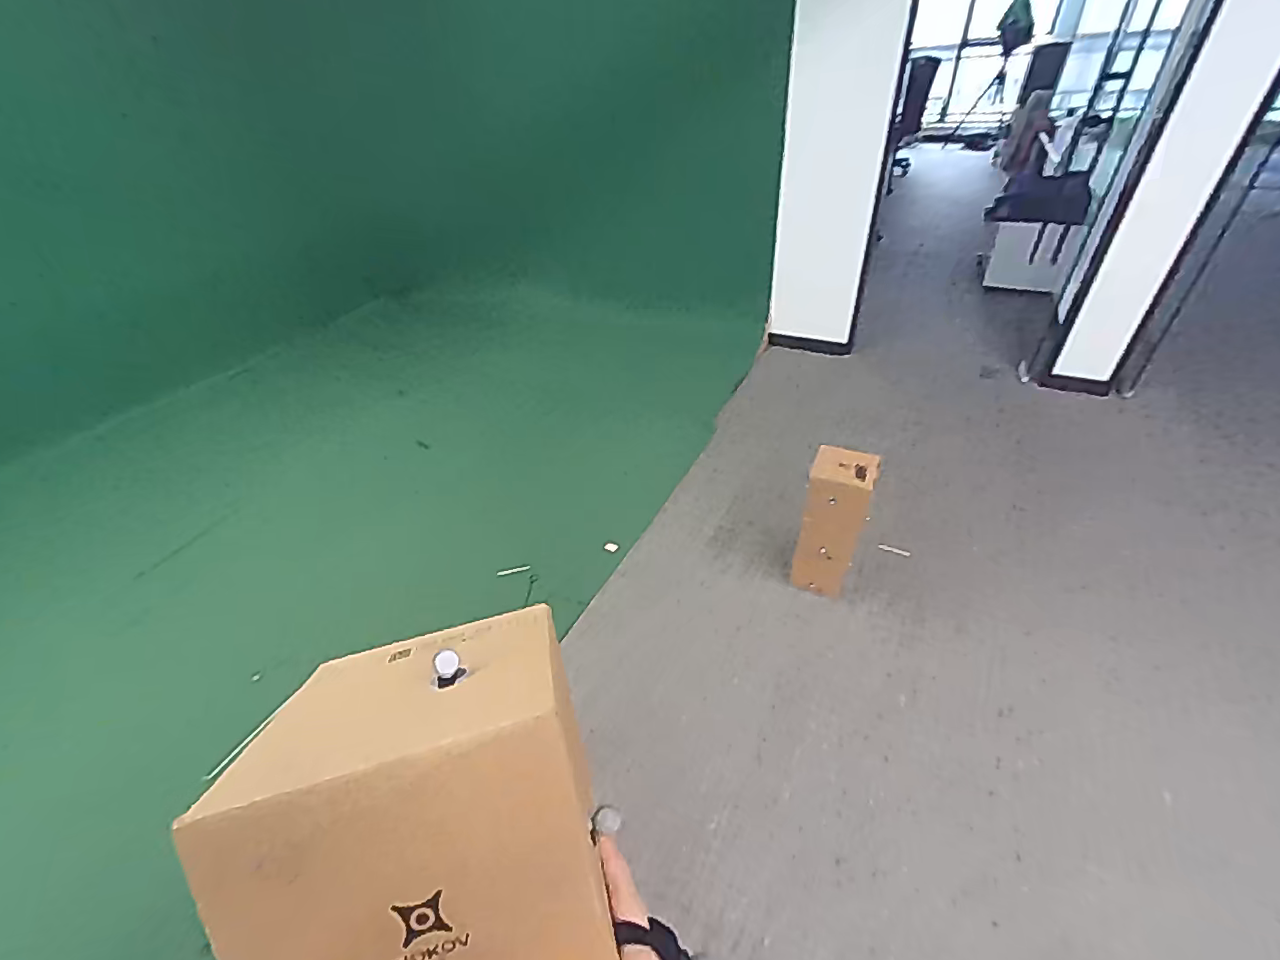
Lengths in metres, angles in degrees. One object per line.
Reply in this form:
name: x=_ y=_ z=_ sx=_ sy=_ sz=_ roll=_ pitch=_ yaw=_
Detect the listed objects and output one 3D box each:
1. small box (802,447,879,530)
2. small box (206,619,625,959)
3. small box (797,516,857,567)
small box: x=0.604 y=0.029 z=1.636 sx=0.179 sy=0.176 sz=0.168 roll=14 pitch=44 yaw=23
small box: x=-0.116 y=0.203 z=0.342 sx=0.168 sy=0.179 sz=0.176 roll=-13 pitch=9 yaw=-10
small box: x=0.612 y=0.150 z=1.748 sx=0.168 sy=0.176 sz=0.179 roll=13 pitch=44 yaw=21
